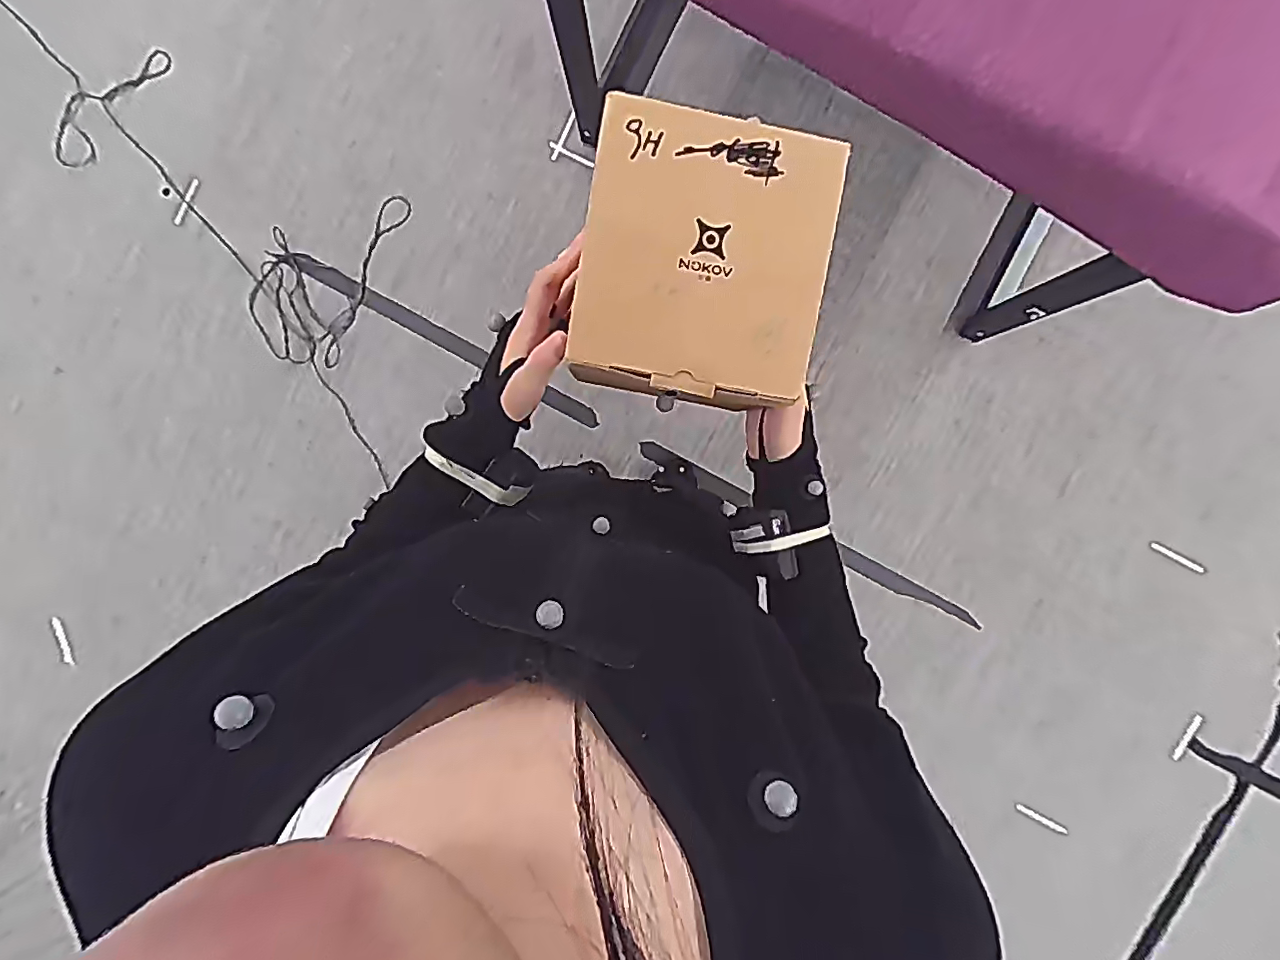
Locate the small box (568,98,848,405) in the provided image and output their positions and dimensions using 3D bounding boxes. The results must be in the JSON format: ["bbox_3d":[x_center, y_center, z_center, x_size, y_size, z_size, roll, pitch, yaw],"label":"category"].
[{"bbox_3d":[0.042,-0.160,0.446,0.168,0.176,0.179,10,96,-5],"label":"small box"}]
